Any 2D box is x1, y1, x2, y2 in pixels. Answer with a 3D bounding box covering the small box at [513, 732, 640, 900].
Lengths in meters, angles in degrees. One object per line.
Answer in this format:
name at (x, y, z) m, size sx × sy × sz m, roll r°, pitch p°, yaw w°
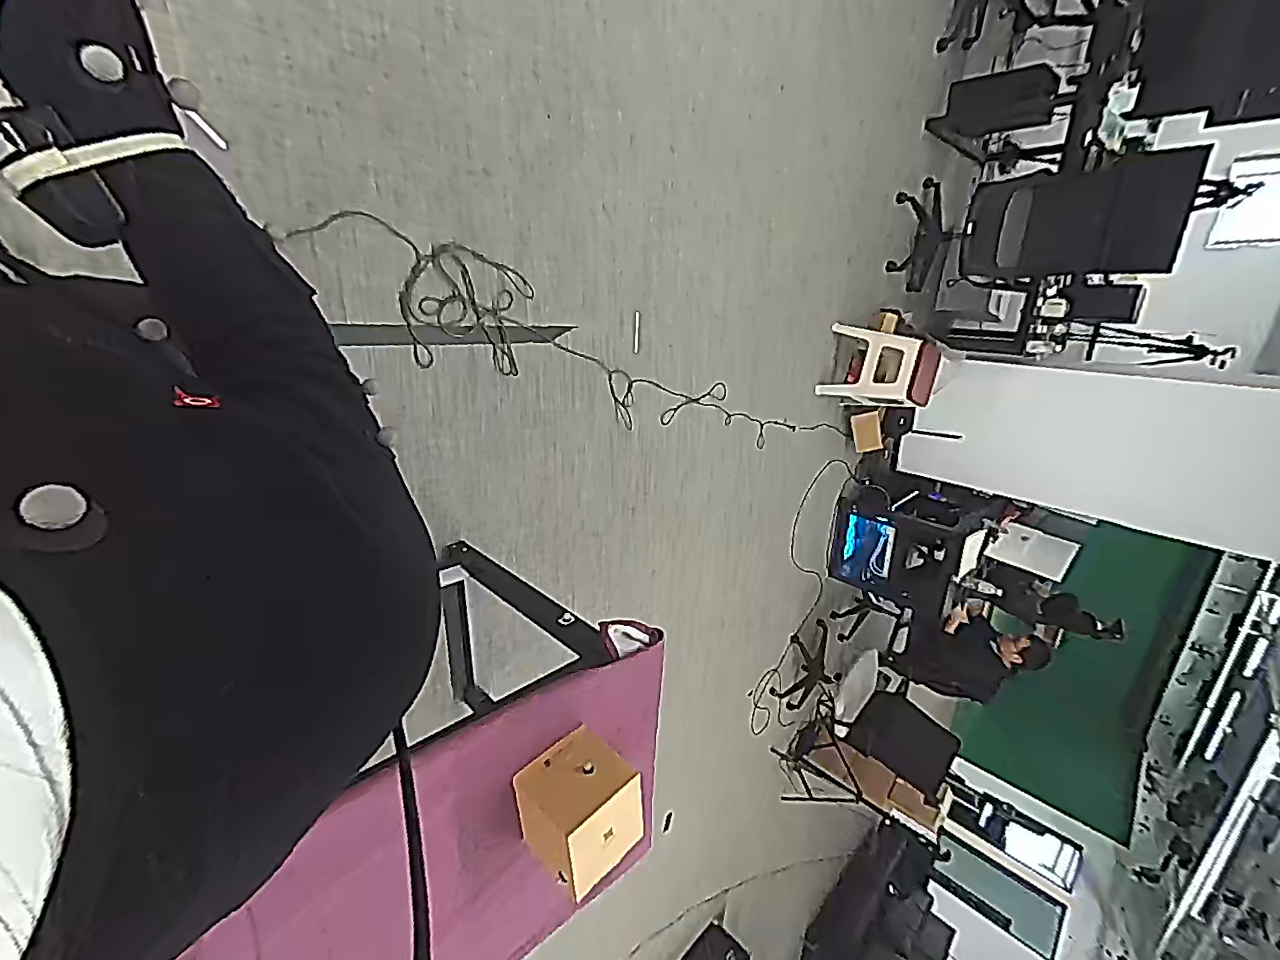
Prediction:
small box at (-0.118, 0.601, 0.999) m, size 0.168 × 0.176 × 0.179 m, roll -23°, pitch 121°, yaw -39°
